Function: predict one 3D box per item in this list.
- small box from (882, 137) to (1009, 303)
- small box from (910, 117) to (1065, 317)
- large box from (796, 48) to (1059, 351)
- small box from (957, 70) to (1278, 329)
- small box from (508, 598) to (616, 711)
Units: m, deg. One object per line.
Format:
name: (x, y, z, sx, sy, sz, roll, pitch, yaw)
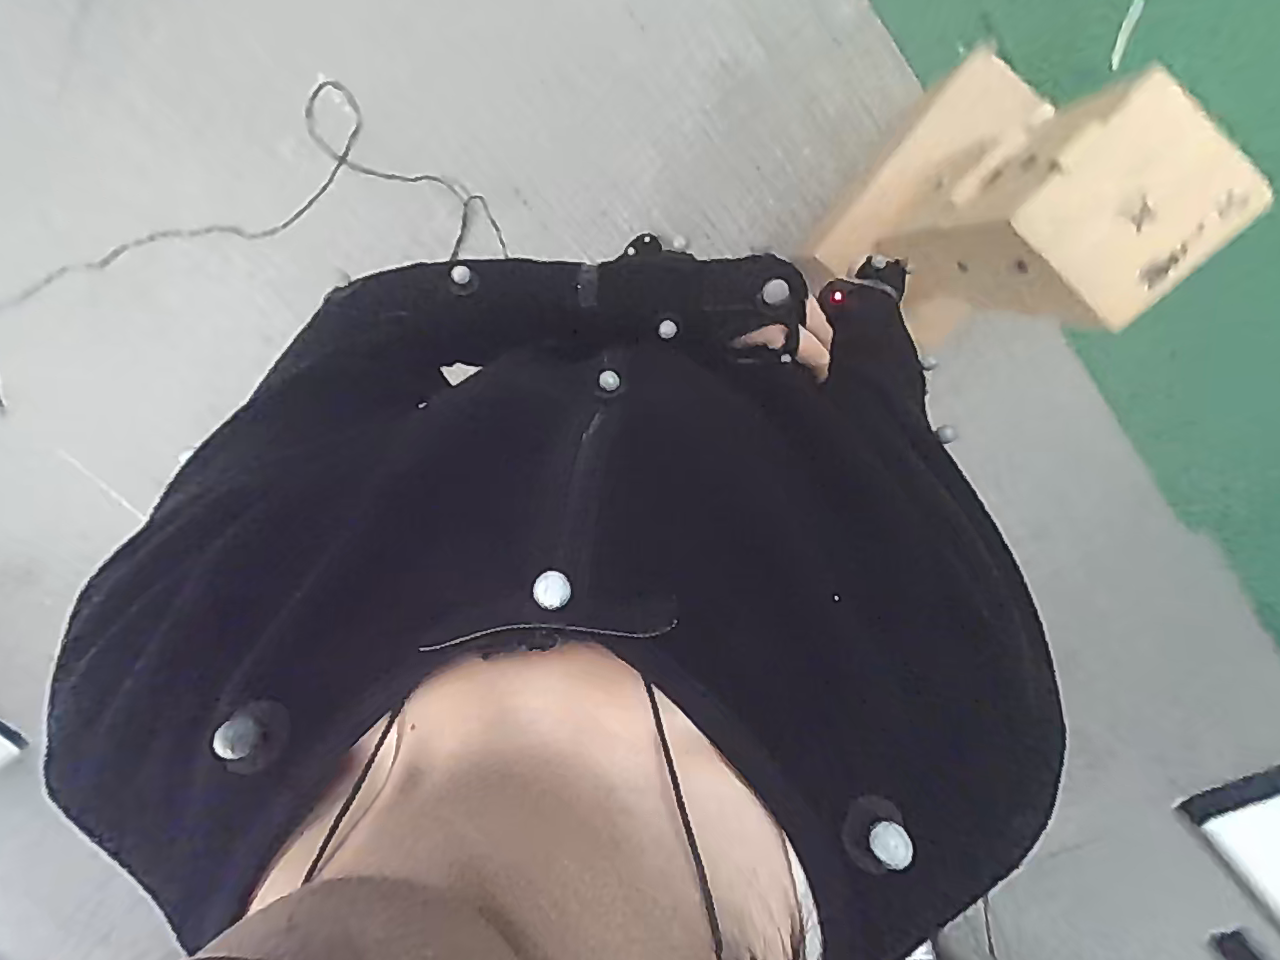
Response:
small box: (0.542, -0.423, 0.902, 0.168, 0.176, 0.179, 40, 112, -7)
small box: (0.518, -0.352, 0.756, 0.179, 0.176, 0.168, 41, 111, -8)
large box: (0.588, -0.534, 1.117, 0.320, 0.320, 0.408, 35, 111, -8)
small box: (0.501, -0.292, 0.604, 0.179, 0.176, 0.168, 40, 112, -7)
small box: (-0.153, 0.362, 1.139, 0.179, 0.176, 0.168, -5, 111, 11)
